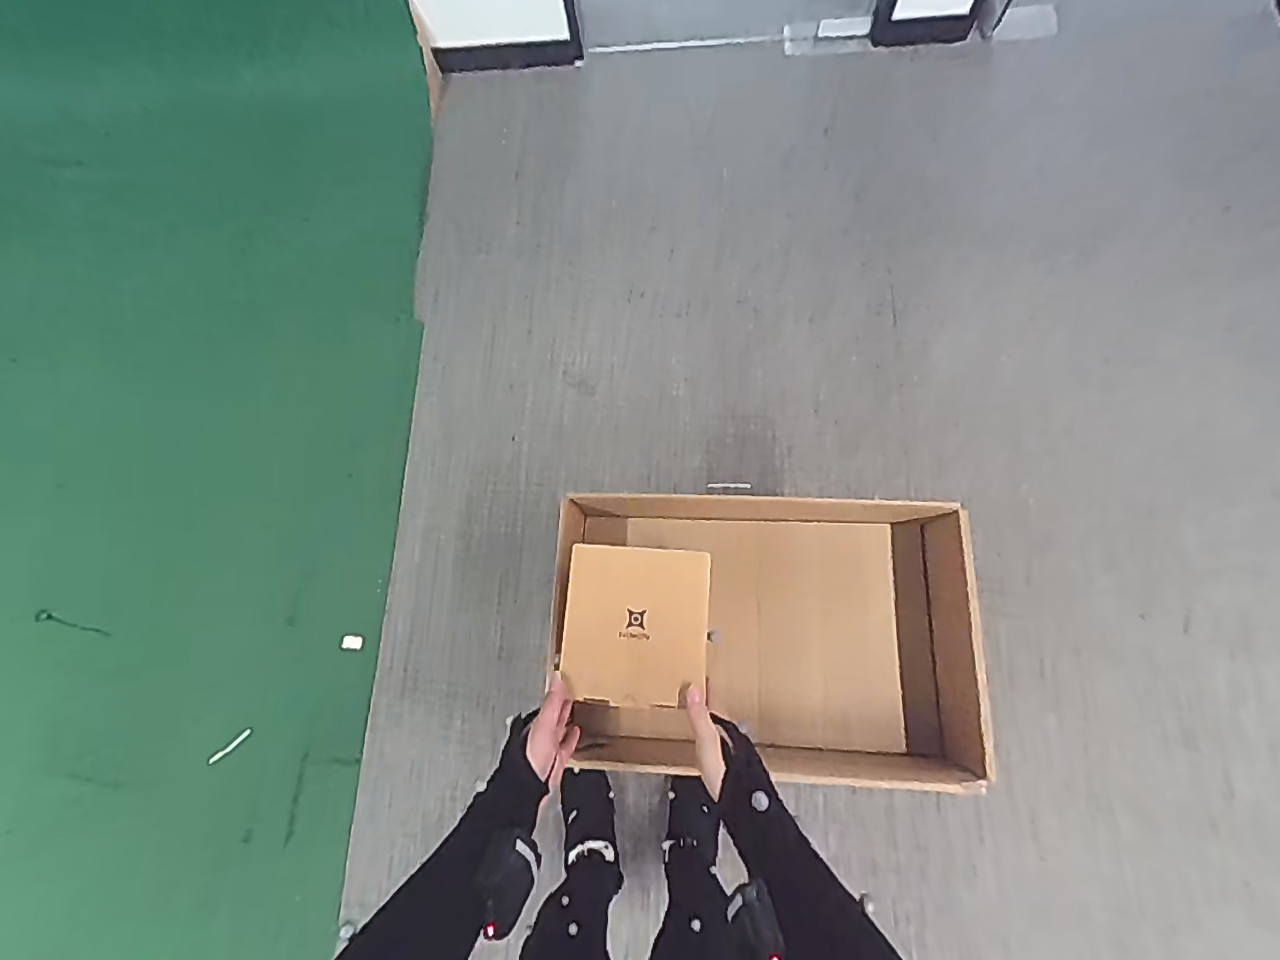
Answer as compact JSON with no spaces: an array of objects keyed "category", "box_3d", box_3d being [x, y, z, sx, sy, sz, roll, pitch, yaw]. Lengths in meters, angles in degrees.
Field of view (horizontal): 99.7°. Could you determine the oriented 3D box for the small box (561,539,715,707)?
[{"category":"small box","box_3d":[0.003,0.181,0.693,0.168,0.176,0.179,3,75,5]}]
